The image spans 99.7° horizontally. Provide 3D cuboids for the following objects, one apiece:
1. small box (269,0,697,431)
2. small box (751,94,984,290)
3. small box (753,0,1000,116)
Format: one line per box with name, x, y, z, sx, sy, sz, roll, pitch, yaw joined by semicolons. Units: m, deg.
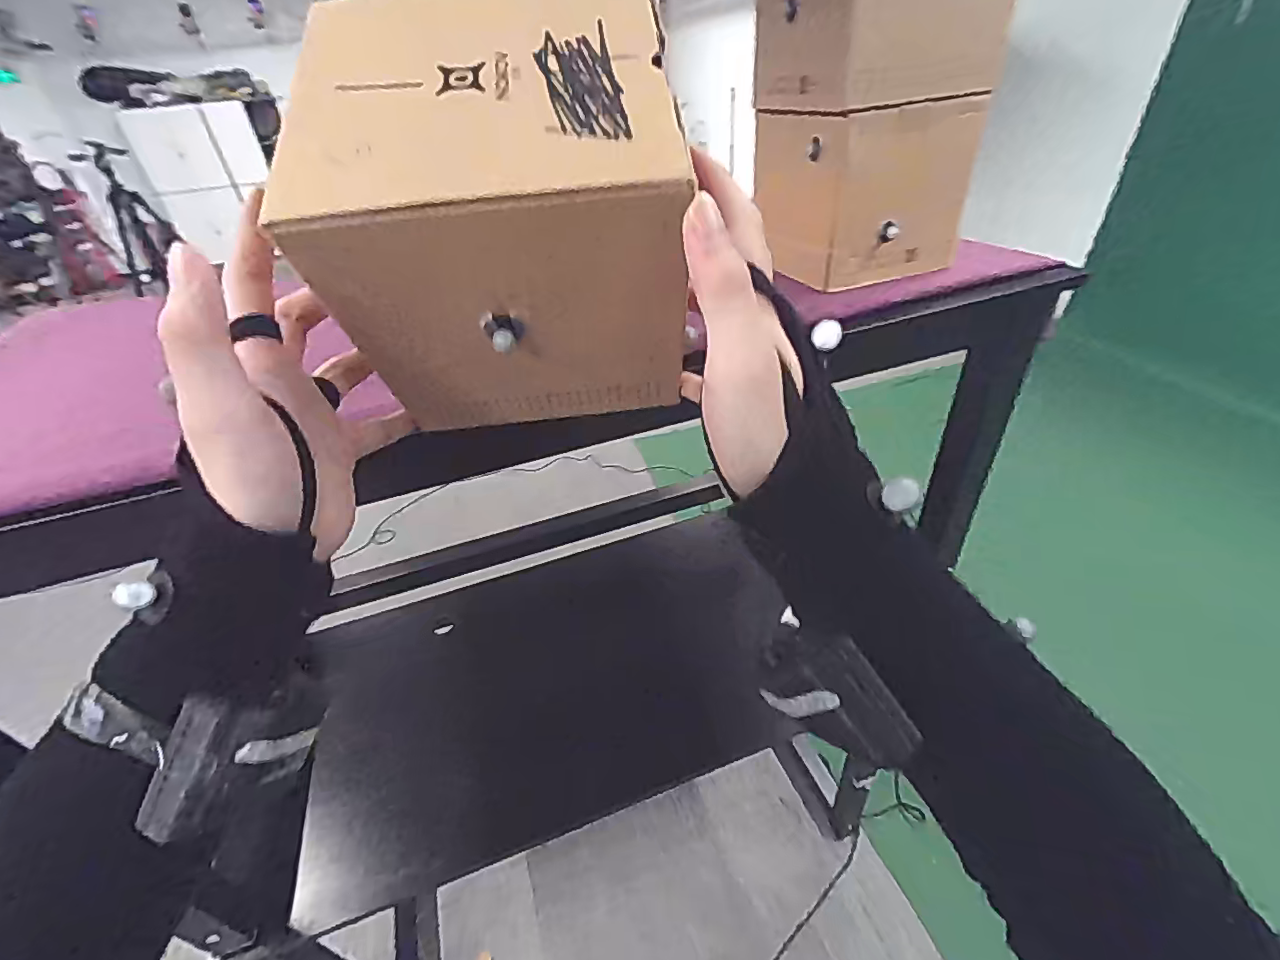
small box;-0.068;-0.144;0.322;0.179;0.176;0.168;-7;66;0
small box;0.238;-0.331;0.620;0.168;0.176;0.179;-16;38;-12
small box;0.219;-0.457;0.515;0.179;0.176;0.168;-16;38;-12
